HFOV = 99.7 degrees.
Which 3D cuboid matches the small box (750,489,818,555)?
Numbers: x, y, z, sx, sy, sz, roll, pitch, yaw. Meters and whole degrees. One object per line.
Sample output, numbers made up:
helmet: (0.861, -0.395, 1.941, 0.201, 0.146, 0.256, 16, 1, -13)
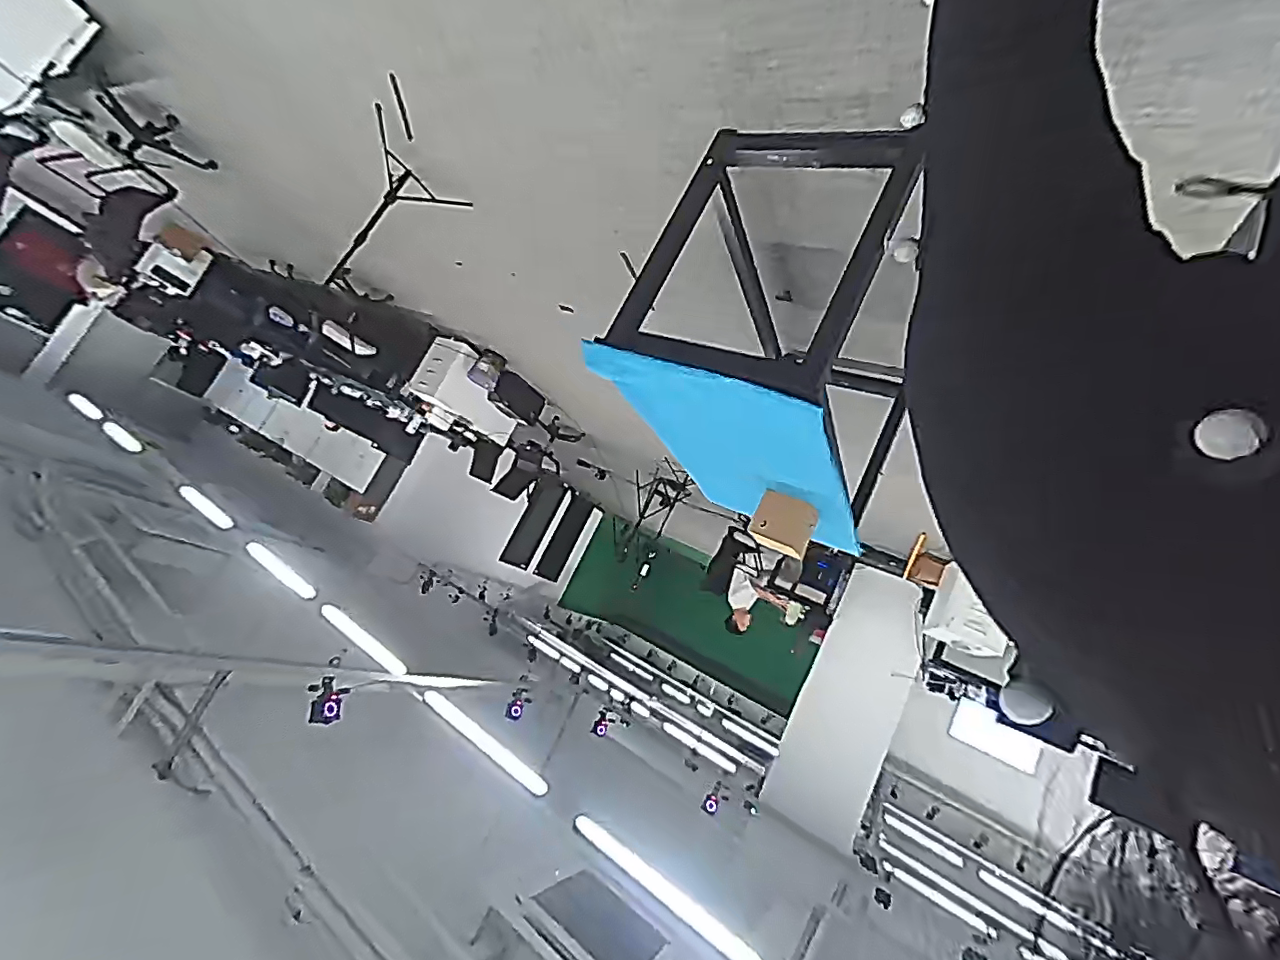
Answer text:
small box: (0.519, 0.146, 1.939, 0.179, 0.176, 0.168, 19, 169, 28)
